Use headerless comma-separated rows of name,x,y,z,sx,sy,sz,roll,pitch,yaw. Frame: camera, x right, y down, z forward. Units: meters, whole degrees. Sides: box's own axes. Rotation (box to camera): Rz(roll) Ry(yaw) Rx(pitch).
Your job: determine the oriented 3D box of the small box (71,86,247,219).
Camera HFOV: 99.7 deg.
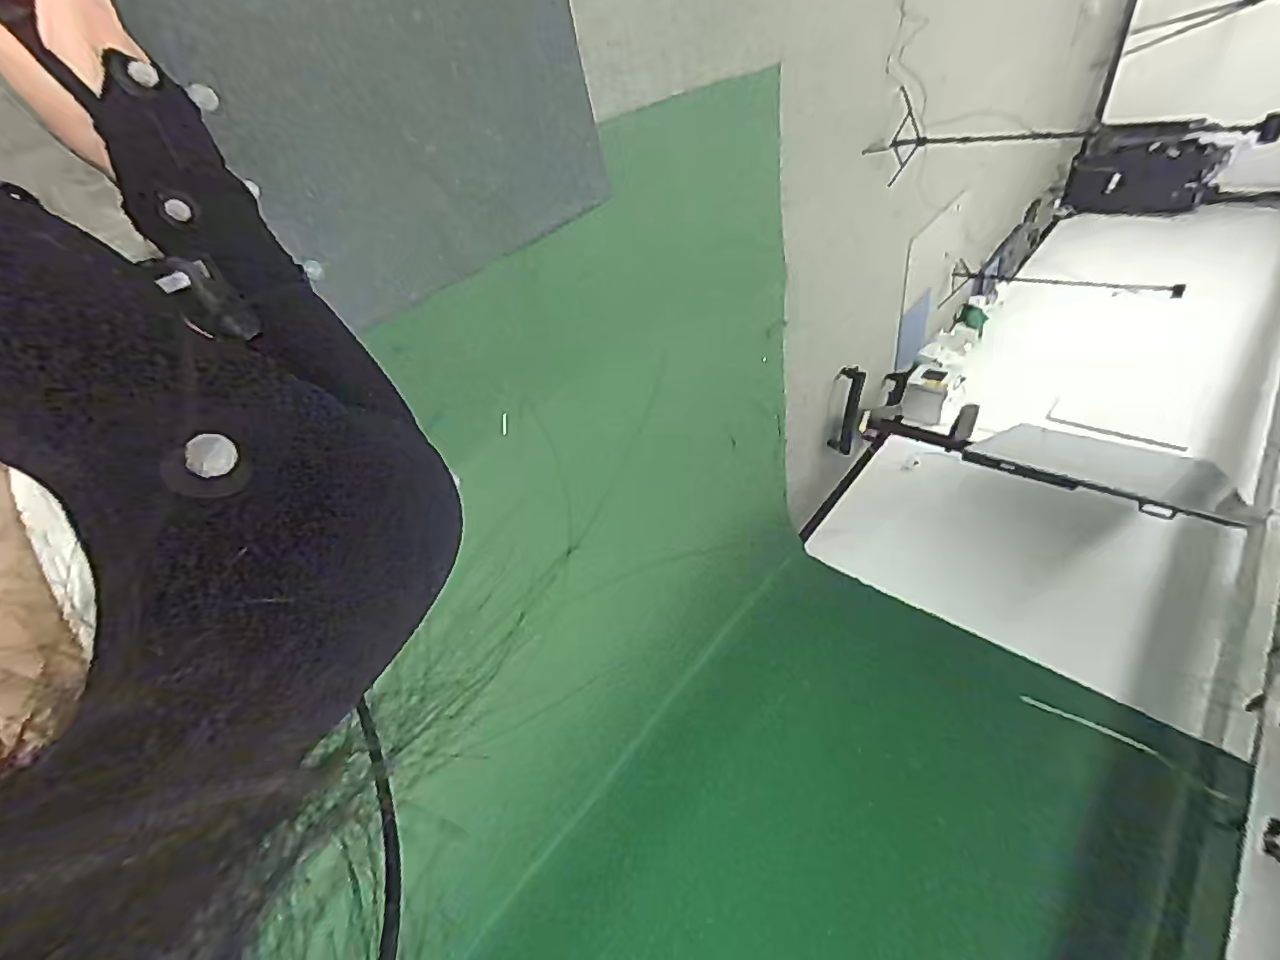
small box,-0.868,-0.588,0.977,0.168,0.176,0.179,-38,136,-31
